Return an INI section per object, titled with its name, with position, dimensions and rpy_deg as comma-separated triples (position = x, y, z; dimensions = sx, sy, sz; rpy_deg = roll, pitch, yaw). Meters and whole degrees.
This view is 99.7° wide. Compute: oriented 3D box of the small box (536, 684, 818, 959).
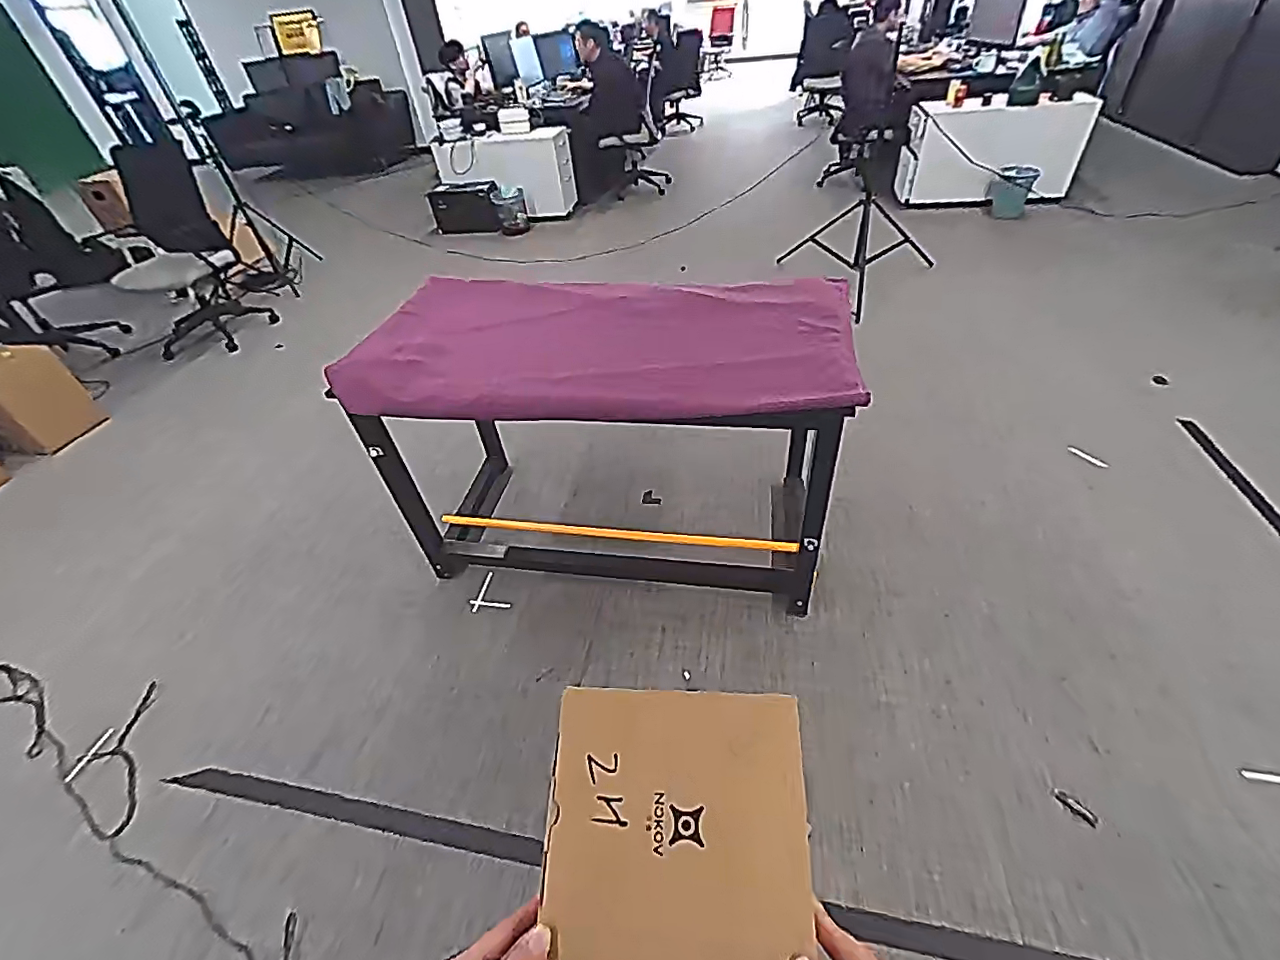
[small box]
position = 0.034, 0.264, 0.436
dimensions = 0.179, 0.176, 0.168
rpy_deg = -1, 62, 8
